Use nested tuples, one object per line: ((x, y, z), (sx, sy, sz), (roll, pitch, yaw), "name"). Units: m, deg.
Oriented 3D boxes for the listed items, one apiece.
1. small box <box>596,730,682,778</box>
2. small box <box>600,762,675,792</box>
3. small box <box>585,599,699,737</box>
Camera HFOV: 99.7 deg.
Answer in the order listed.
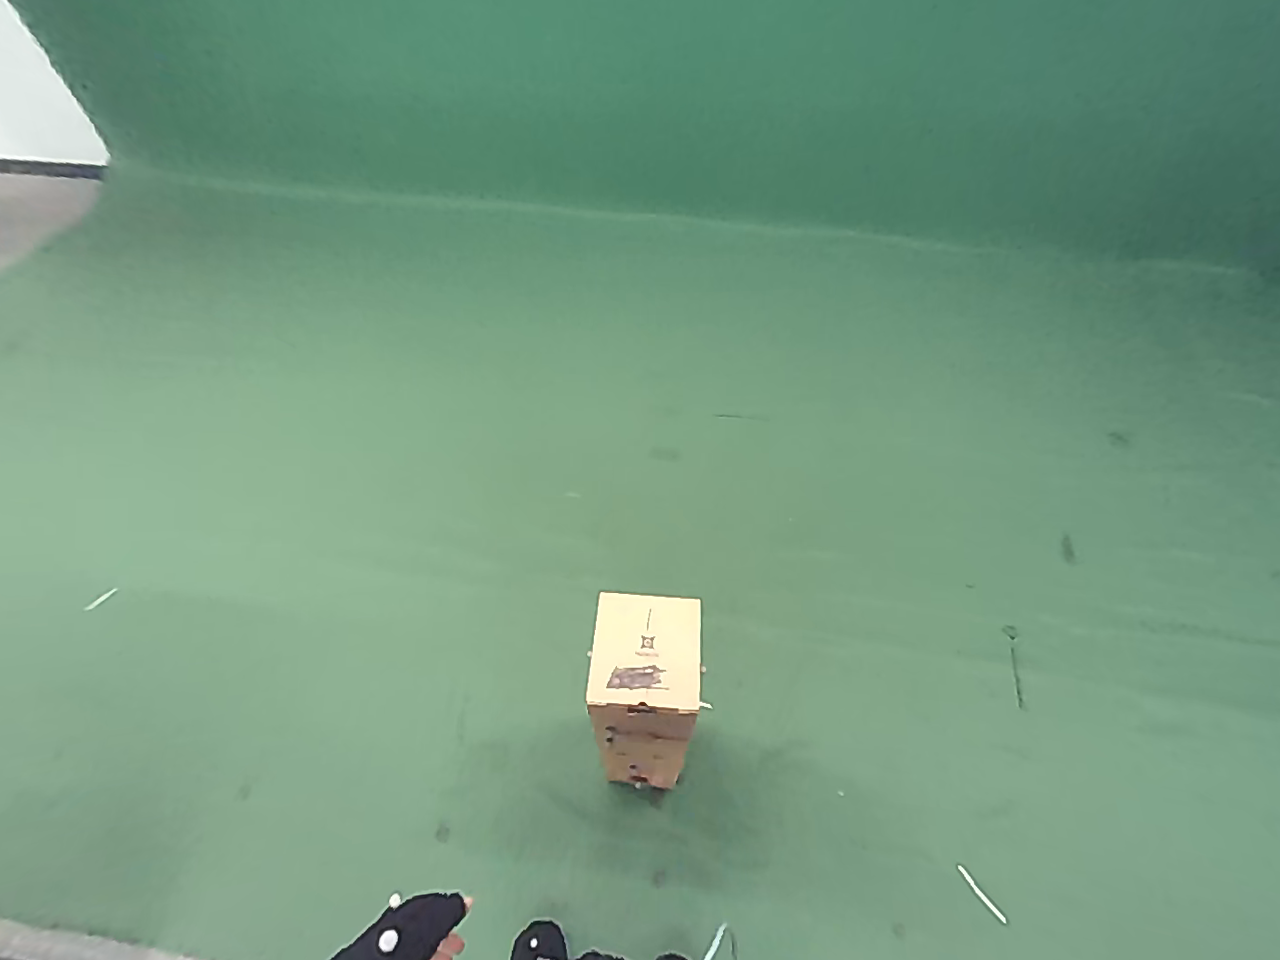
((0.002, 0.511, 1.140), (0.168, 0.176, 0.179), (5, 53, 2), "small box")
((0.002, 0.611, 1.268), (0.168, 0.176, 0.179), (6, 52, 4), "small box")
((0.006, 0.310, 0.880), (0.168, 0.176, 0.179), (2, 54, 0), "small box")
